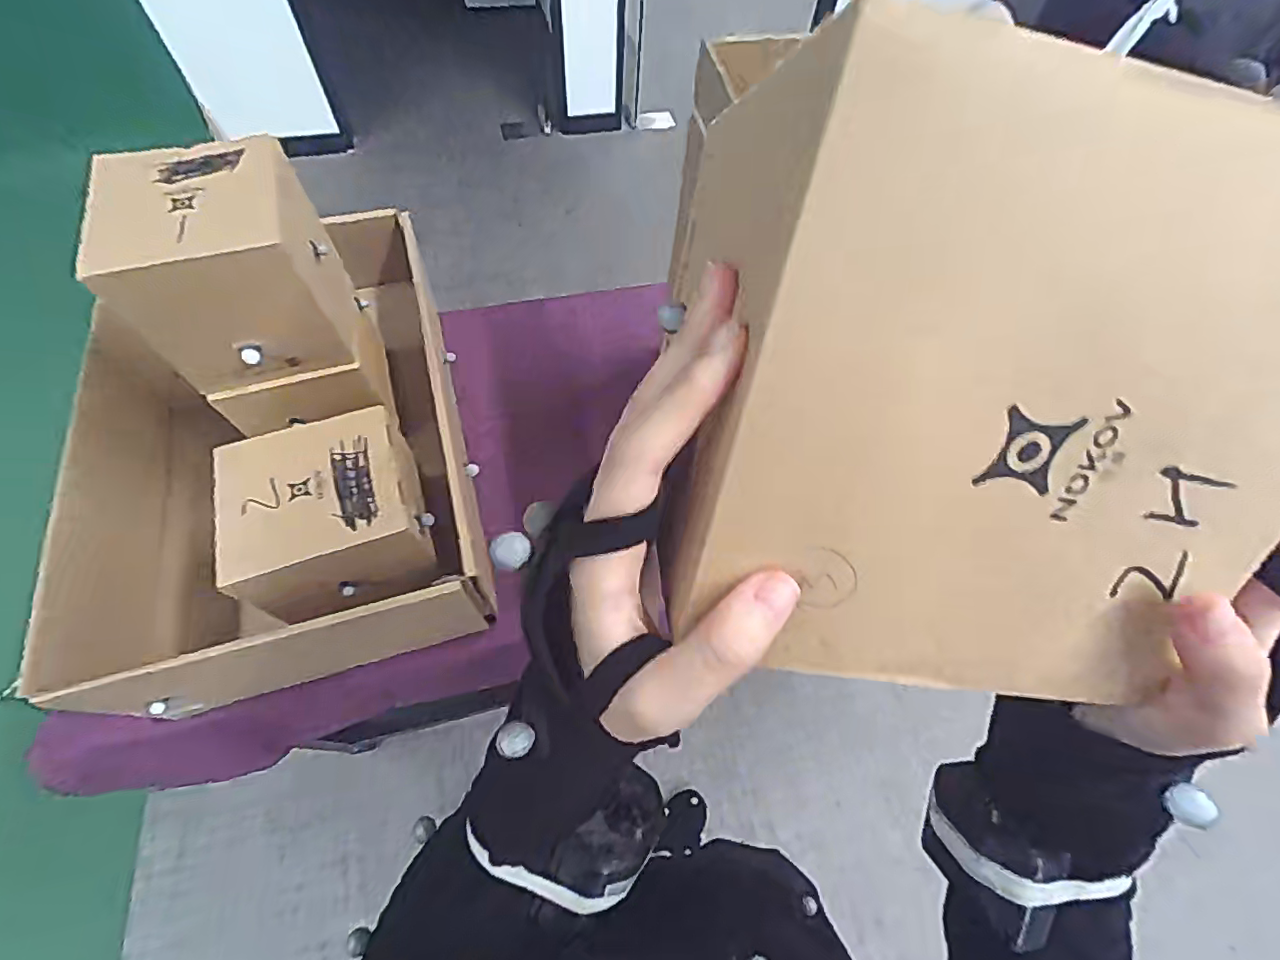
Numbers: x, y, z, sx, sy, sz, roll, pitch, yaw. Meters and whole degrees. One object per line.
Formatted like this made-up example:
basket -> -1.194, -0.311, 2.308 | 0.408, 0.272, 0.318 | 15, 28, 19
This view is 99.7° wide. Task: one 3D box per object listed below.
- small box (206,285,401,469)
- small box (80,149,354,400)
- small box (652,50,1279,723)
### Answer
small box -> -0.439, -0.132, 0.727 | 0.168, 0.176, 0.179 | -17, 63, -11
small box -> -0.434, -0.217, 0.586 | 0.168, 0.176, 0.179 | -16, 65, -11
small box -> 0.106, -0.034, 0.221 | 0.179, 0.168, 0.176 | 9, 26, -8
